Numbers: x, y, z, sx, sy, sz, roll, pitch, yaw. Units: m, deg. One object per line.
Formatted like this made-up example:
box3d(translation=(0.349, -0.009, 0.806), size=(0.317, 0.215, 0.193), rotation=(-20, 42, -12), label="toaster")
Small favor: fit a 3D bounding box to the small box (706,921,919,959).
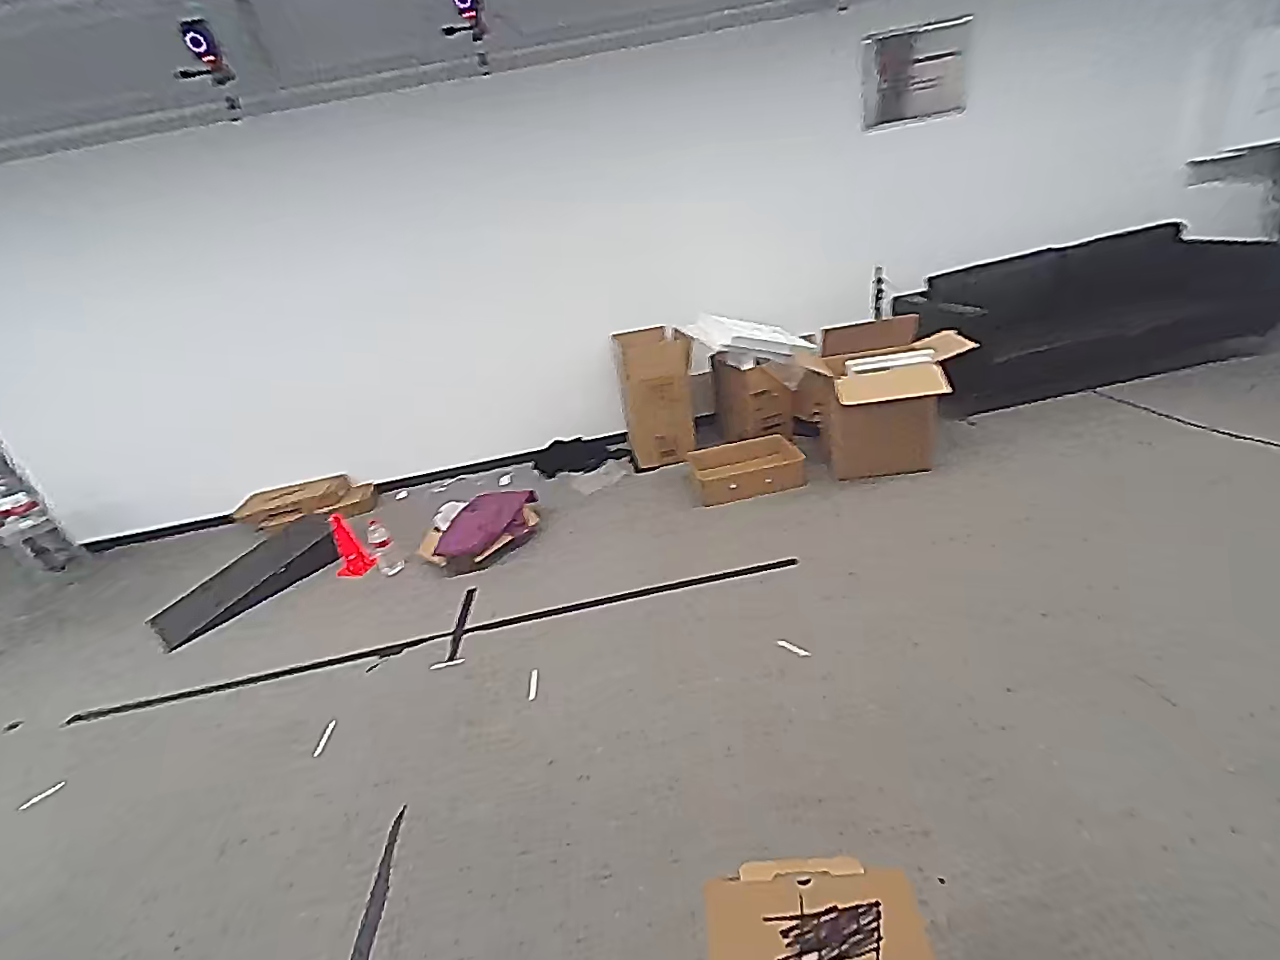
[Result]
box3d(translation=(0.145, 0.475, 0.414), size=(0.168, 0.176, 0.179), rotation=(-8, 37, 5), label="small box")
